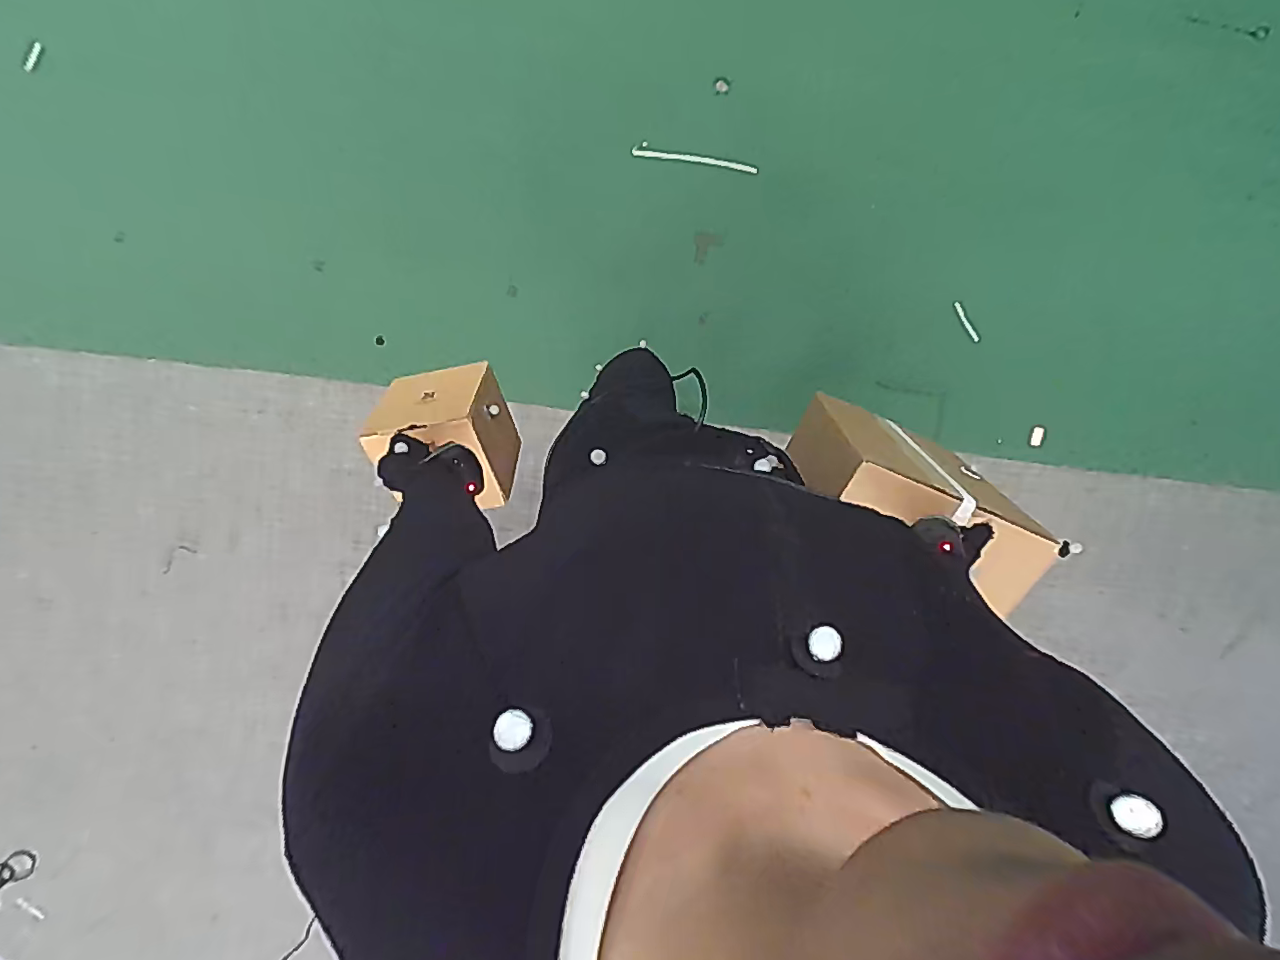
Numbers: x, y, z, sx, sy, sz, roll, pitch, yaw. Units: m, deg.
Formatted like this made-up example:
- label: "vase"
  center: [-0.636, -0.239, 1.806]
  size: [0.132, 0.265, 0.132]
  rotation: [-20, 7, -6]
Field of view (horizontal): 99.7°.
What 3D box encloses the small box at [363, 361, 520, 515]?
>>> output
- label: "small box"
  center: [-0.305, -0.068, 0.878]
  size: [0.168, 0.179, 0.176]
  rotation: [-10, 129, 5]
